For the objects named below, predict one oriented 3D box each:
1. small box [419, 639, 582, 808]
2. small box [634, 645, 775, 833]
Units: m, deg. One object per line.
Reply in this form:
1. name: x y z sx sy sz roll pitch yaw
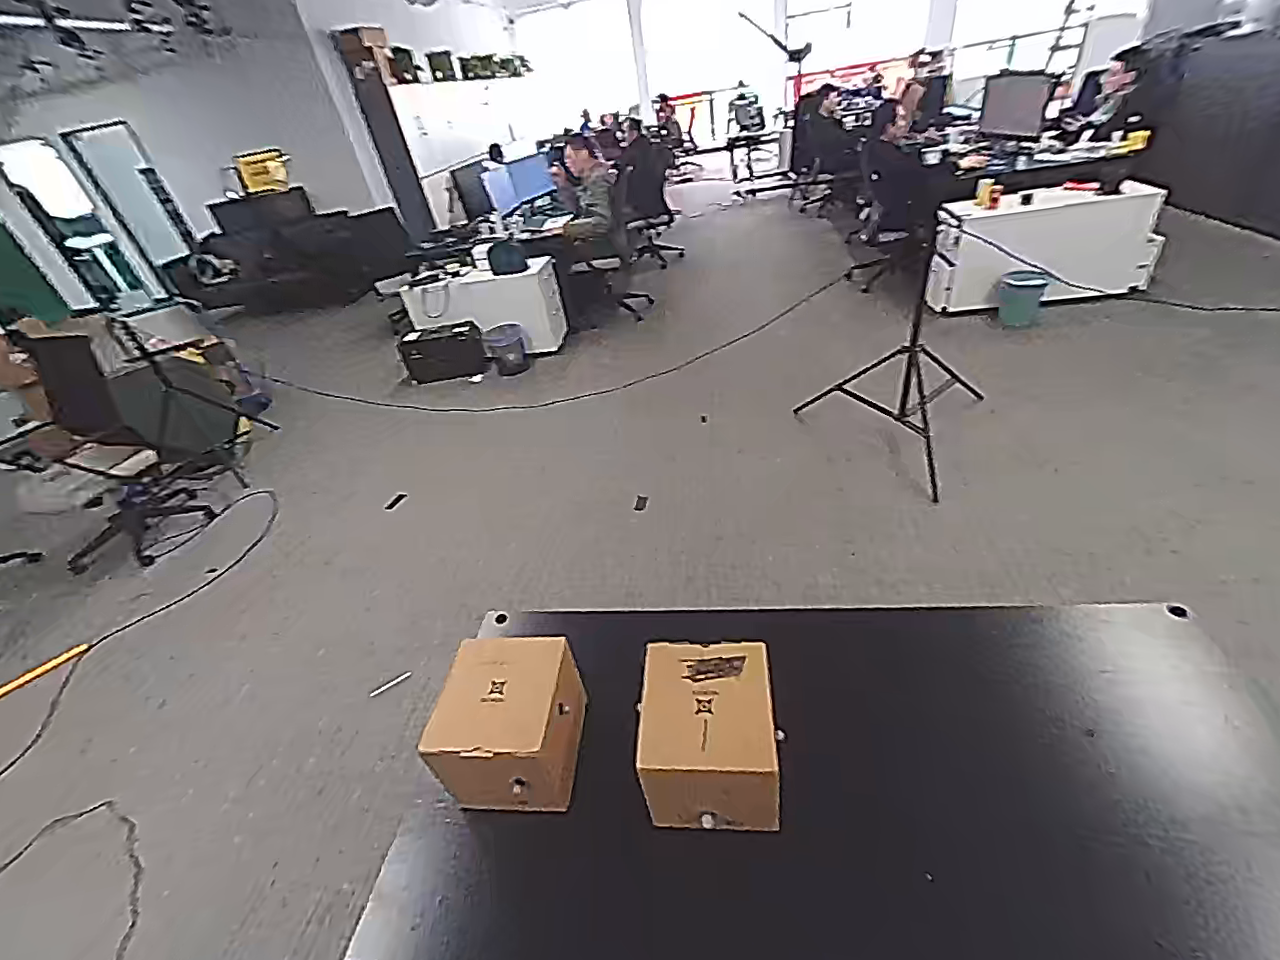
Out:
1. small box: -0.189 0.359 0.798 0.168 0.176 0.179 -3 36 8
2. small box: 0.092 0.349 0.741 0.168 0.176 0.179 -4 37 10
